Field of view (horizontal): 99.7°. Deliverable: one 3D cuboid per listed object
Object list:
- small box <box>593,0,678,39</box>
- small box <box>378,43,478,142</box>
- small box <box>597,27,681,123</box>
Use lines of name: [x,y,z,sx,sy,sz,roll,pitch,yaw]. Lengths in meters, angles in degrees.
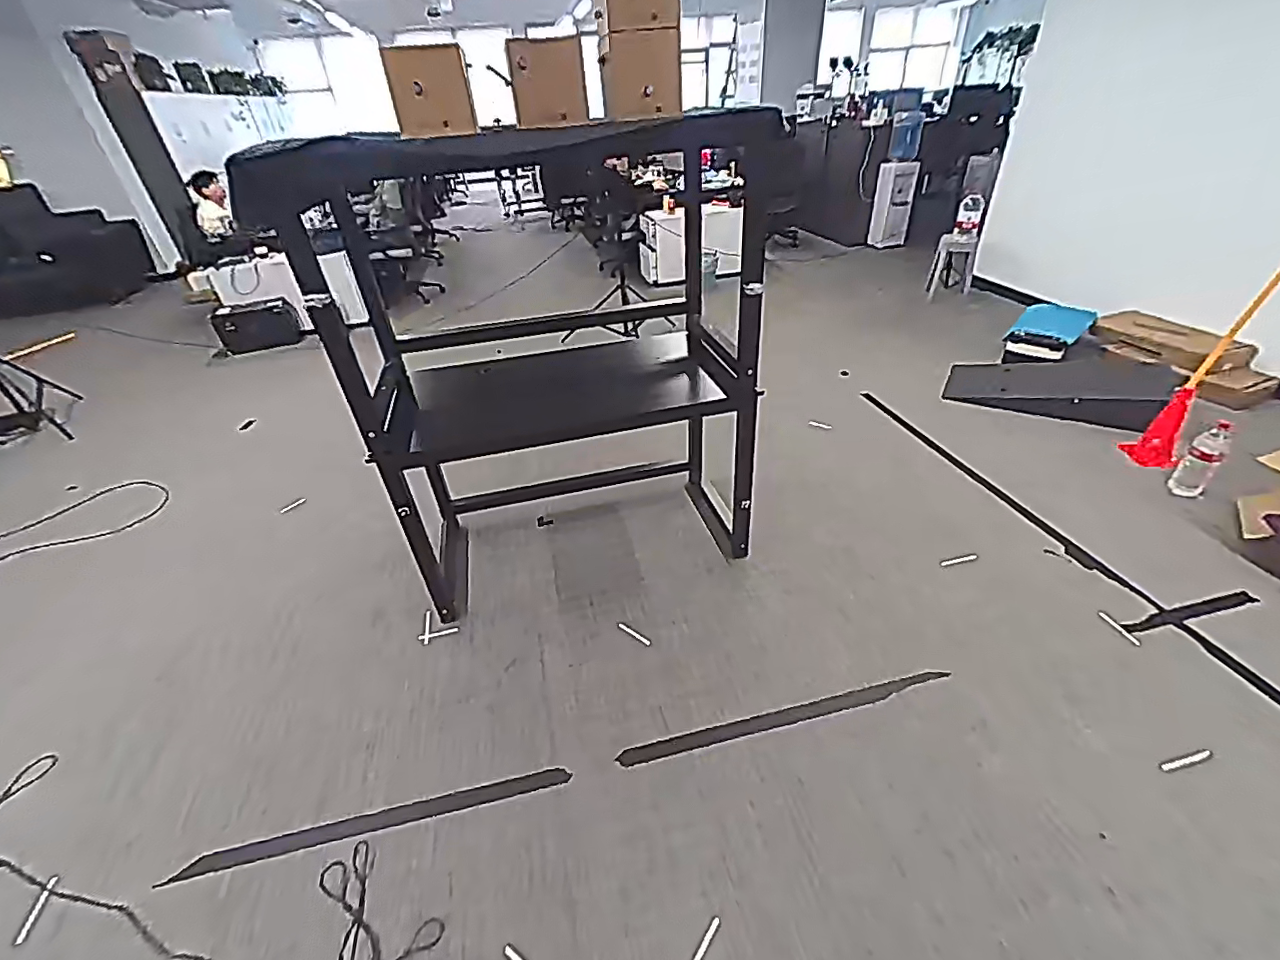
small box: [-0.014,-1.097,1.204,0.168,0.176,0.179,-10,36,-7]
small box: [-0.475,-0.882,1.240,0.168,0.176,0.179,-9,34,-7]
small box: [-0.004,-0.962,1.296,0.168,0.176,0.179,-11,35,-7]
